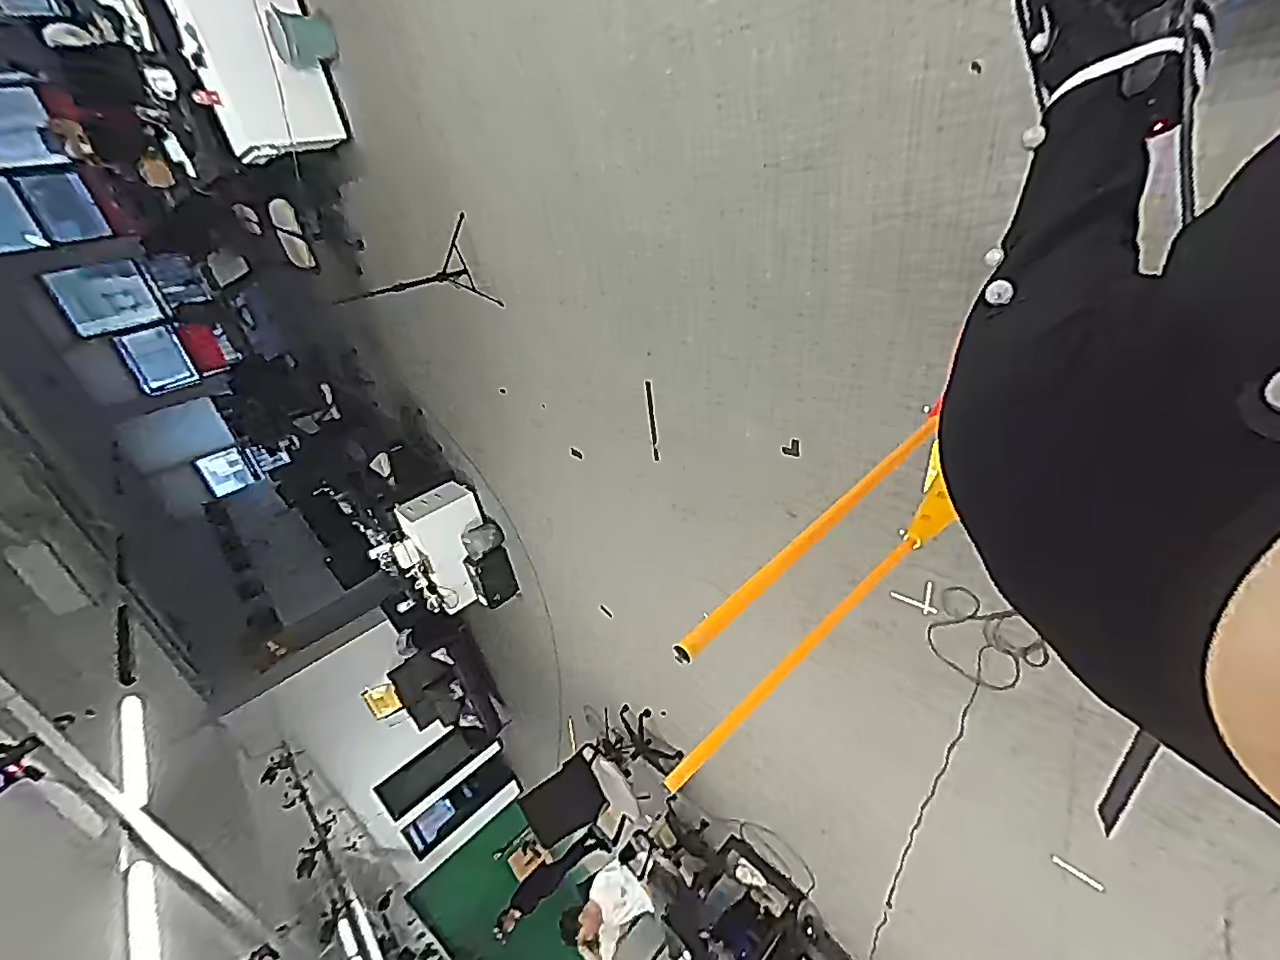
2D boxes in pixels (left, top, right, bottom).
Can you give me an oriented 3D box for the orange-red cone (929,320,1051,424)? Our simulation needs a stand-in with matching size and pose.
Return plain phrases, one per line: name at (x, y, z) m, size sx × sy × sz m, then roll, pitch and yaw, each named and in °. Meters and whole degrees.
orange-red cone at (0.750, -0.212, 1.237) m, size 0.198 × 0.360 × 0.199 m, roll 28°, pitch 135°, yaw 37°
